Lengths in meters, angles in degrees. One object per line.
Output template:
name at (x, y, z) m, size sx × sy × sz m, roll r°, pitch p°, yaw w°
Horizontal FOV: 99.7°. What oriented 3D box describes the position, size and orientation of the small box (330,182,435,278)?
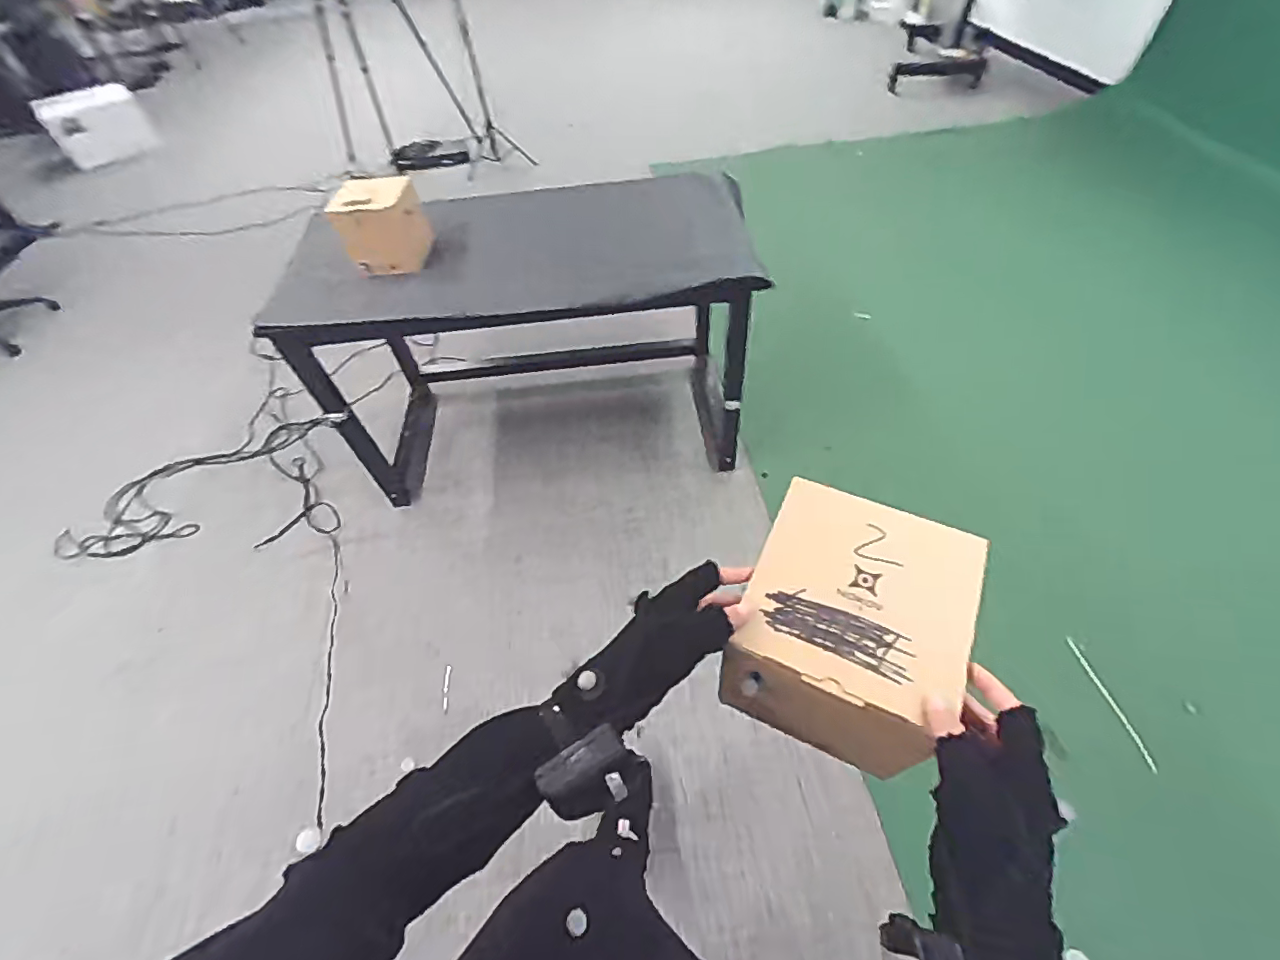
small box at (-0.648, -0.634, 1.386) m, size 0.168 × 0.176 × 0.179 m, roll -3°, pitch 50°, yaw 2°
